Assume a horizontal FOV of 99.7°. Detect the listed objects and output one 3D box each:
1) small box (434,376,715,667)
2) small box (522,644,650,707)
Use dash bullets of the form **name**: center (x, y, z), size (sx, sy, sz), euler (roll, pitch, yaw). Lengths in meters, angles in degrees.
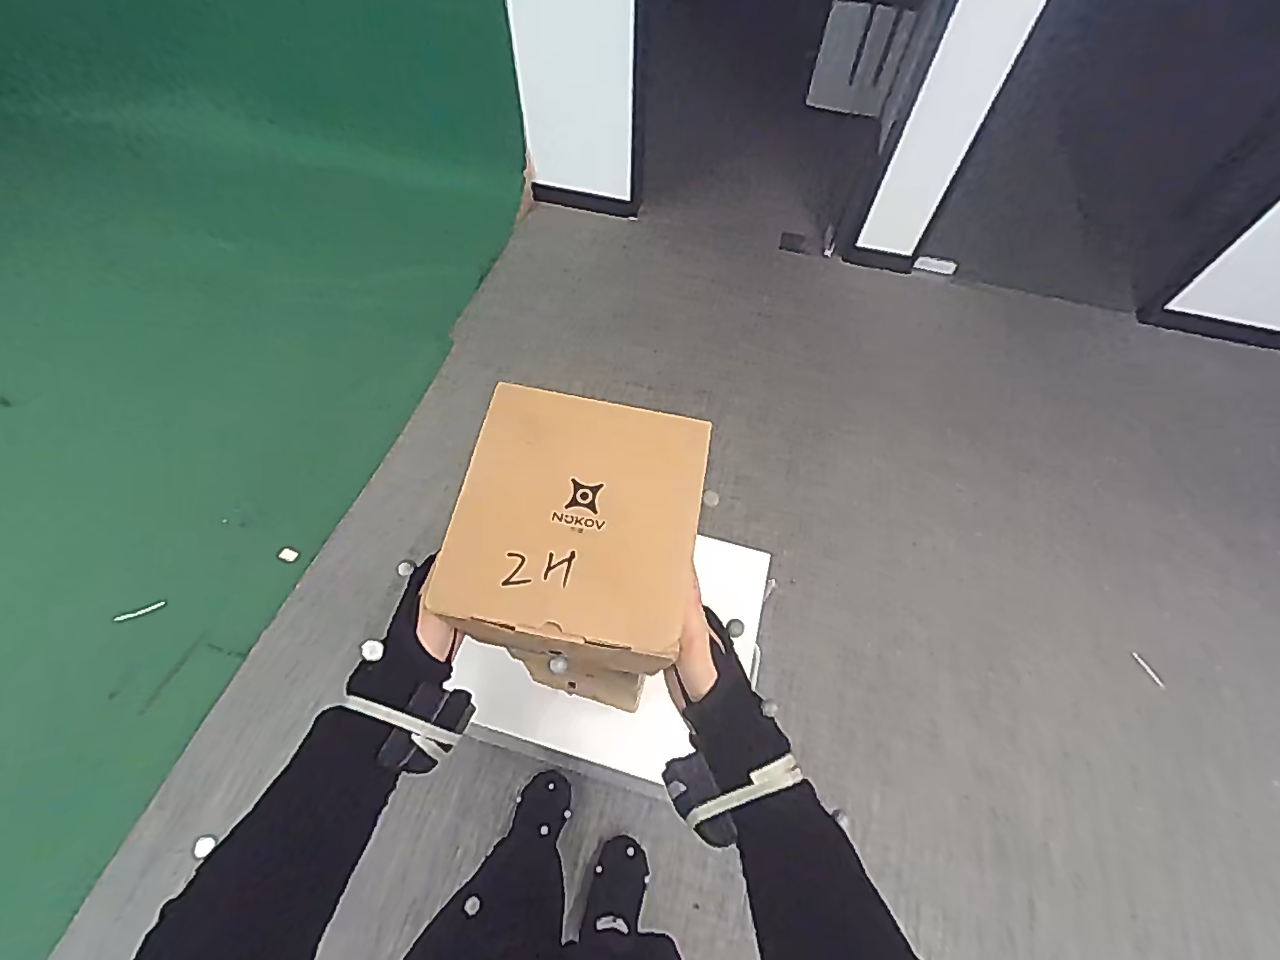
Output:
- **small box**: center (-0.044, 0.045, 0.448), size (0.168, 0.176, 0.179), euler (11, 66, 1)
- **small box**: center (-0.055, 0.208, 0.788), size (0.168, 0.176, 0.179), euler (14, 59, 6)
